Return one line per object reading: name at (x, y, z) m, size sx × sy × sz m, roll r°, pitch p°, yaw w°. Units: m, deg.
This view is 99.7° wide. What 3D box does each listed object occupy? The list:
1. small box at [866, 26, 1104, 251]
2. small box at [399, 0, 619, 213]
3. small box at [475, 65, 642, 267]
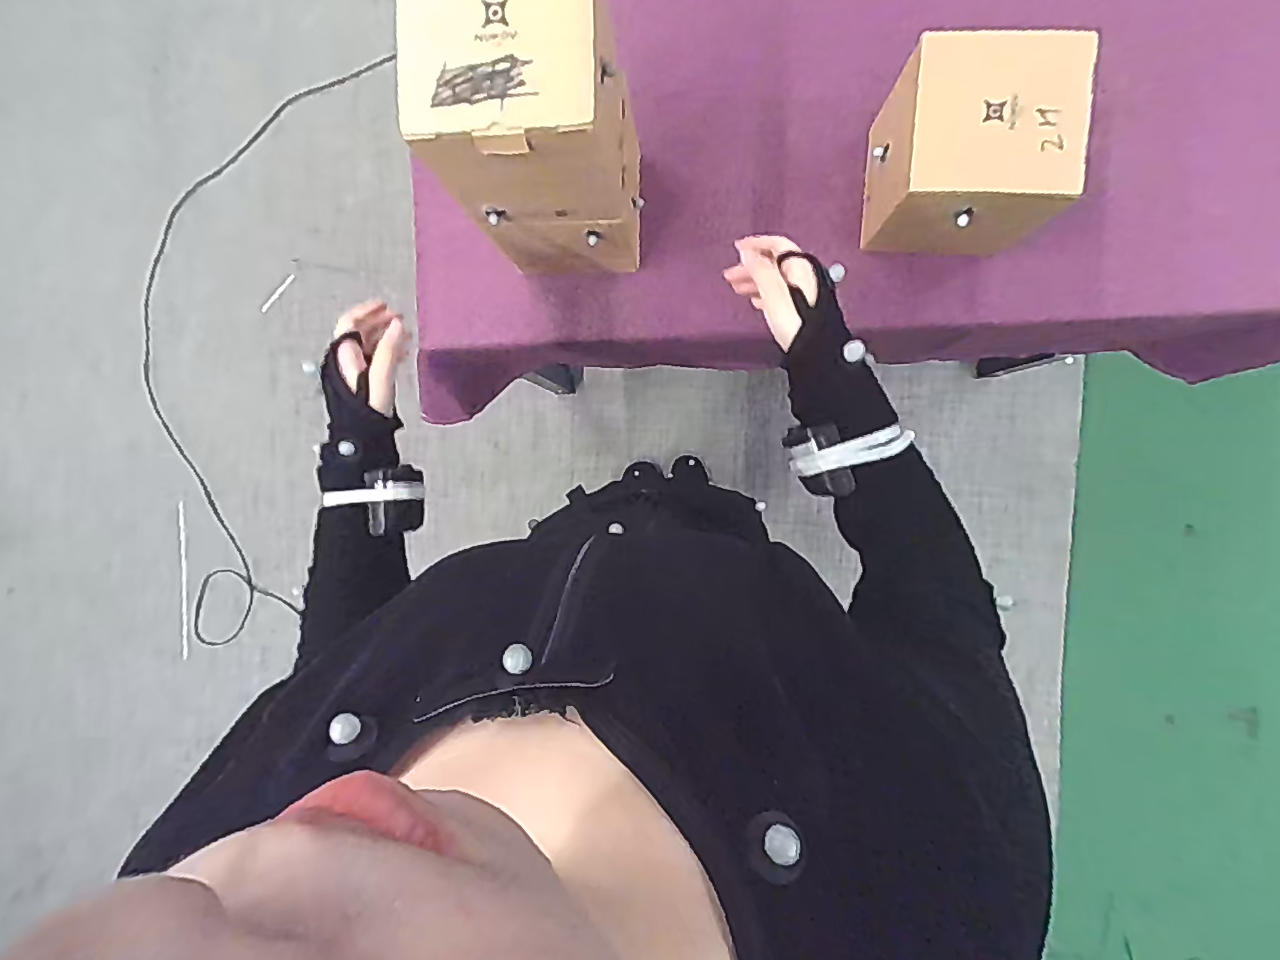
small box at (0.382, -0.383, 0.635) m, size 0.179 × 0.176 × 0.168 m, roll 5°, pitch 94°, yaw 5°
small box at (-0.111, -0.377, 0.521) m, size 0.168 × 0.176 × 0.179 m, roll 0°, pitch 91°, yaw 5°
small box at (-0.093, -0.380, 0.685) m, size 0.179 × 0.176 × 0.168 m, roll 1°, pitch 93°, yaw 5°
